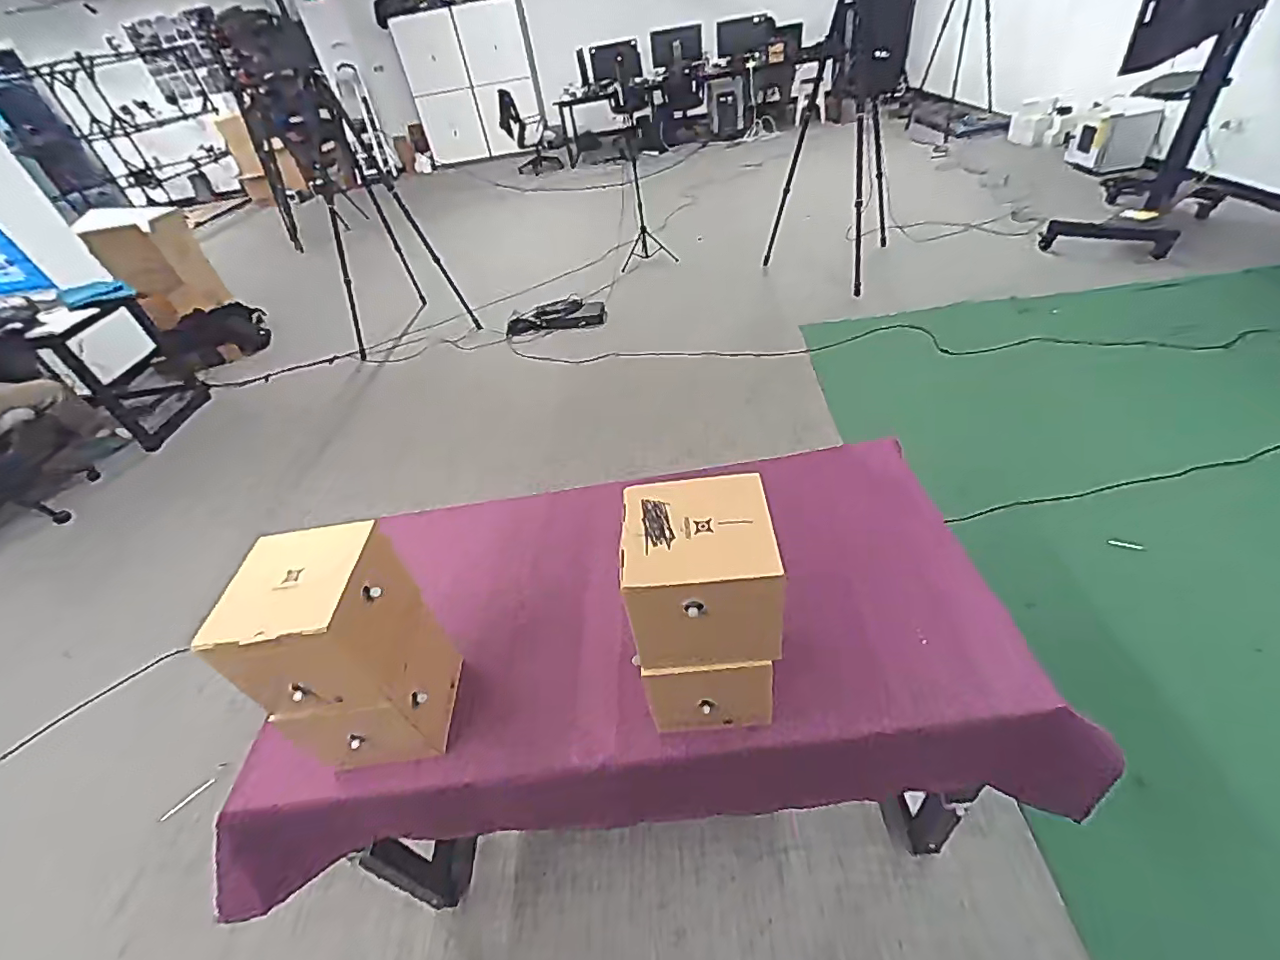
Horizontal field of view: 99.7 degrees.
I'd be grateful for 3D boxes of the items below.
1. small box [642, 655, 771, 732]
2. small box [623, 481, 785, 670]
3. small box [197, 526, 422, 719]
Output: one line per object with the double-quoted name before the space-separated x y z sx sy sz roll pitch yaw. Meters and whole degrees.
"small box" 0.096 0.249 0.787 0.168 0.176 0.179 -6 40 5
"small box" 0.080 0.123 0.682 0.179 0.176 0.168 -6 41 5
"small box" -0.412 0.188 0.717 0.168 0.176 0.179 -8 41 3
